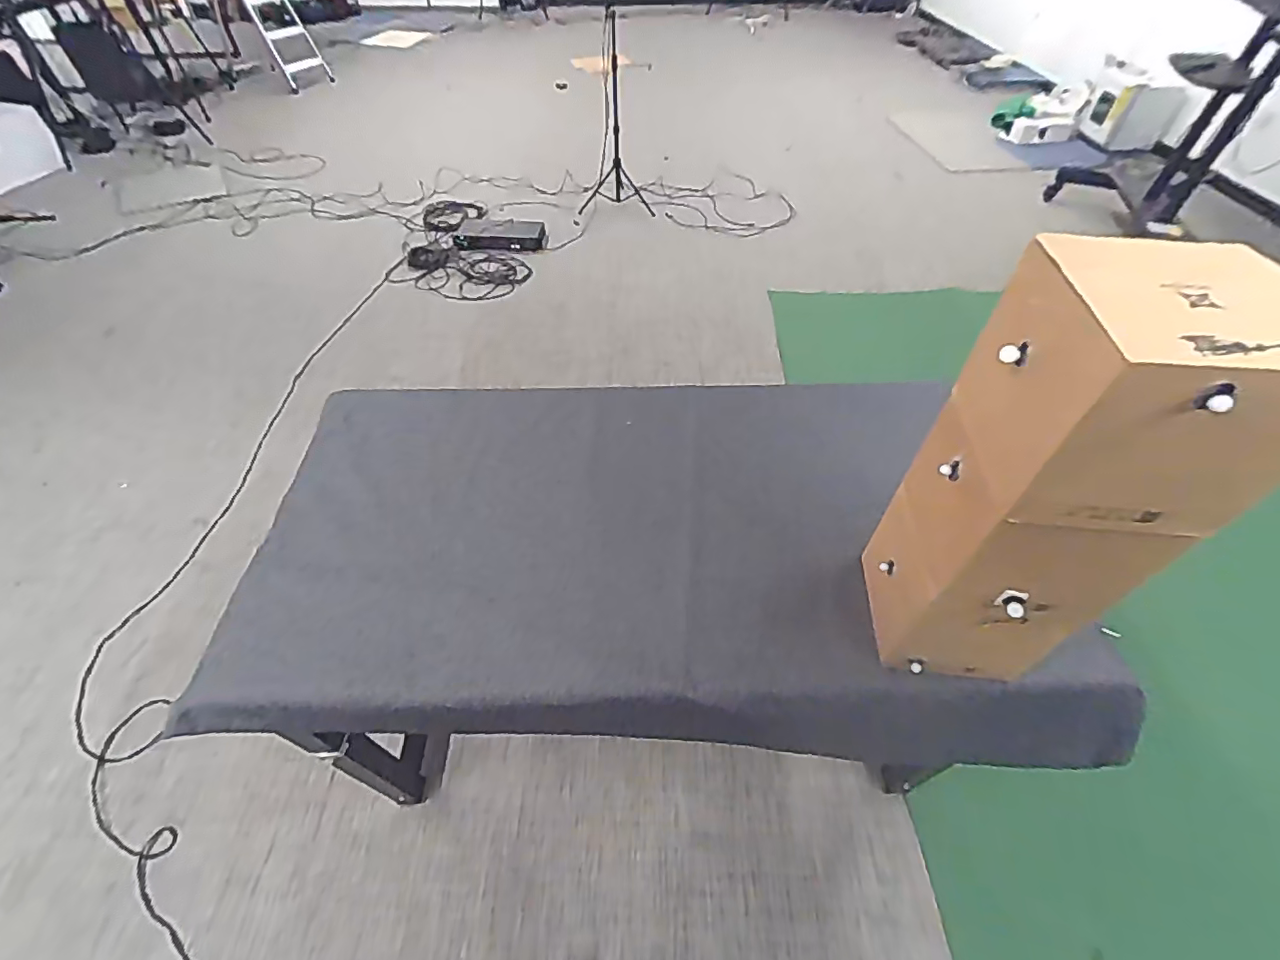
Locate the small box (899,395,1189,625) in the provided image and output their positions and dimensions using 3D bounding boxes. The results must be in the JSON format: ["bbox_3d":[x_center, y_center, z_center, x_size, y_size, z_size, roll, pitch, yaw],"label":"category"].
[{"bbox_3d":[0.400,0.032,0.582,0.168,0.176,0.179,5,50,6],"label":"small box"}]

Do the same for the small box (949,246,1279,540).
[{"bbox_3d":[0.393,-0.074,0.457,0.168,0.176,0.179,5,48,6],"label":"small box"}]

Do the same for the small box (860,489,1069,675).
[{"bbox_3d":[0.403,0.135,0.706,0.168,0.176,0.179,5,48,5],"label":"small box"}]
